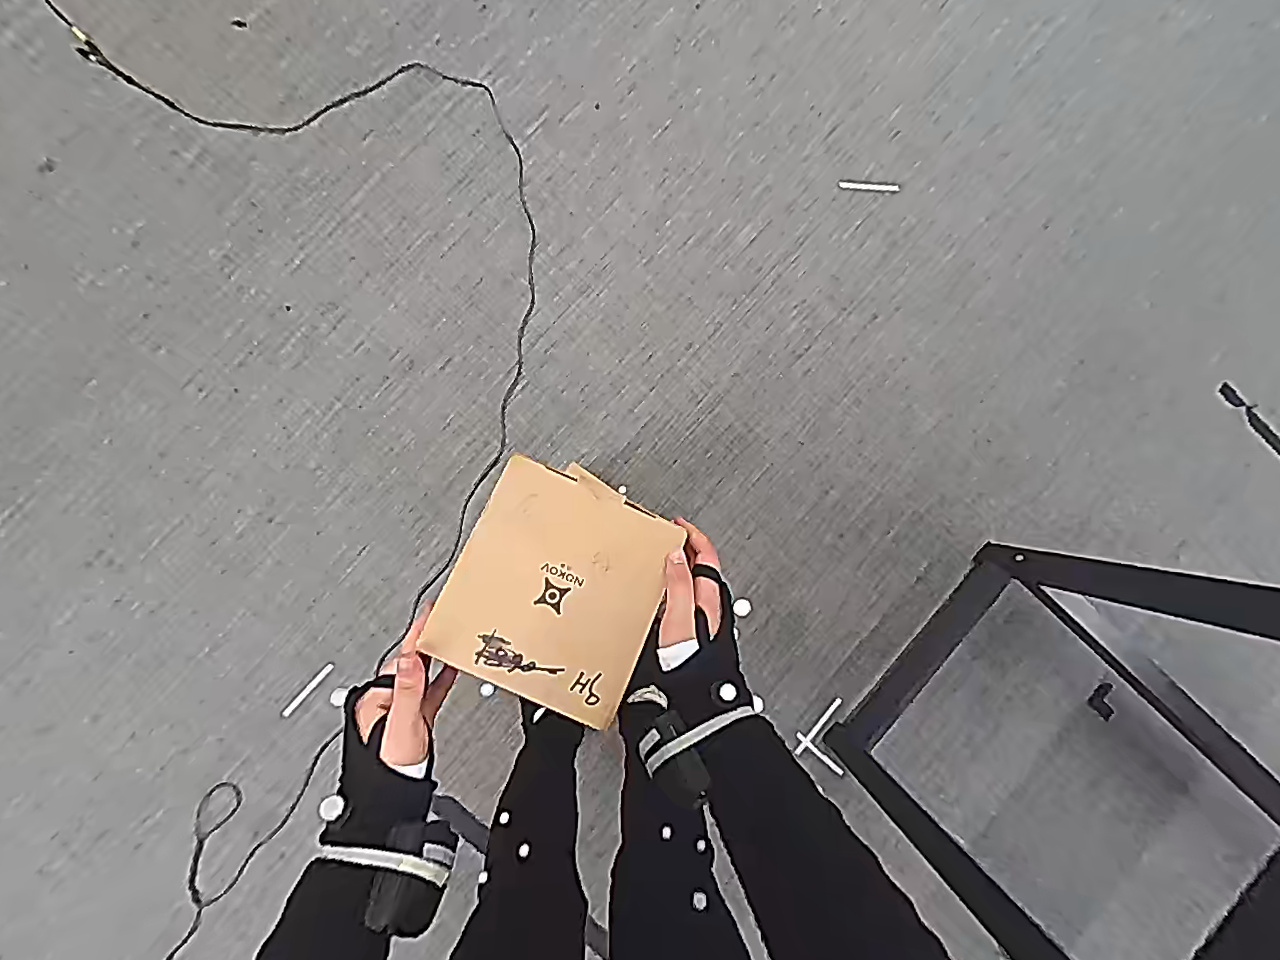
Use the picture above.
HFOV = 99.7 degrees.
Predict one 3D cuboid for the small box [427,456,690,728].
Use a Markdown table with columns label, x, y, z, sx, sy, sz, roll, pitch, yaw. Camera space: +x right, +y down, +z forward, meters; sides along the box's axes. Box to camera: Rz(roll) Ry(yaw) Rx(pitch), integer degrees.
| label | x | y | z | sx | sy | sz | roll | pitch | yaw |
| --- | --- | --- | --- | --- | --- | --- | --- | --- | --- |
| small box | -0.072 | 0.106 | 0.522 | 0.168 | 0.176 | 0.179 | 24 | 75 | 0 |
